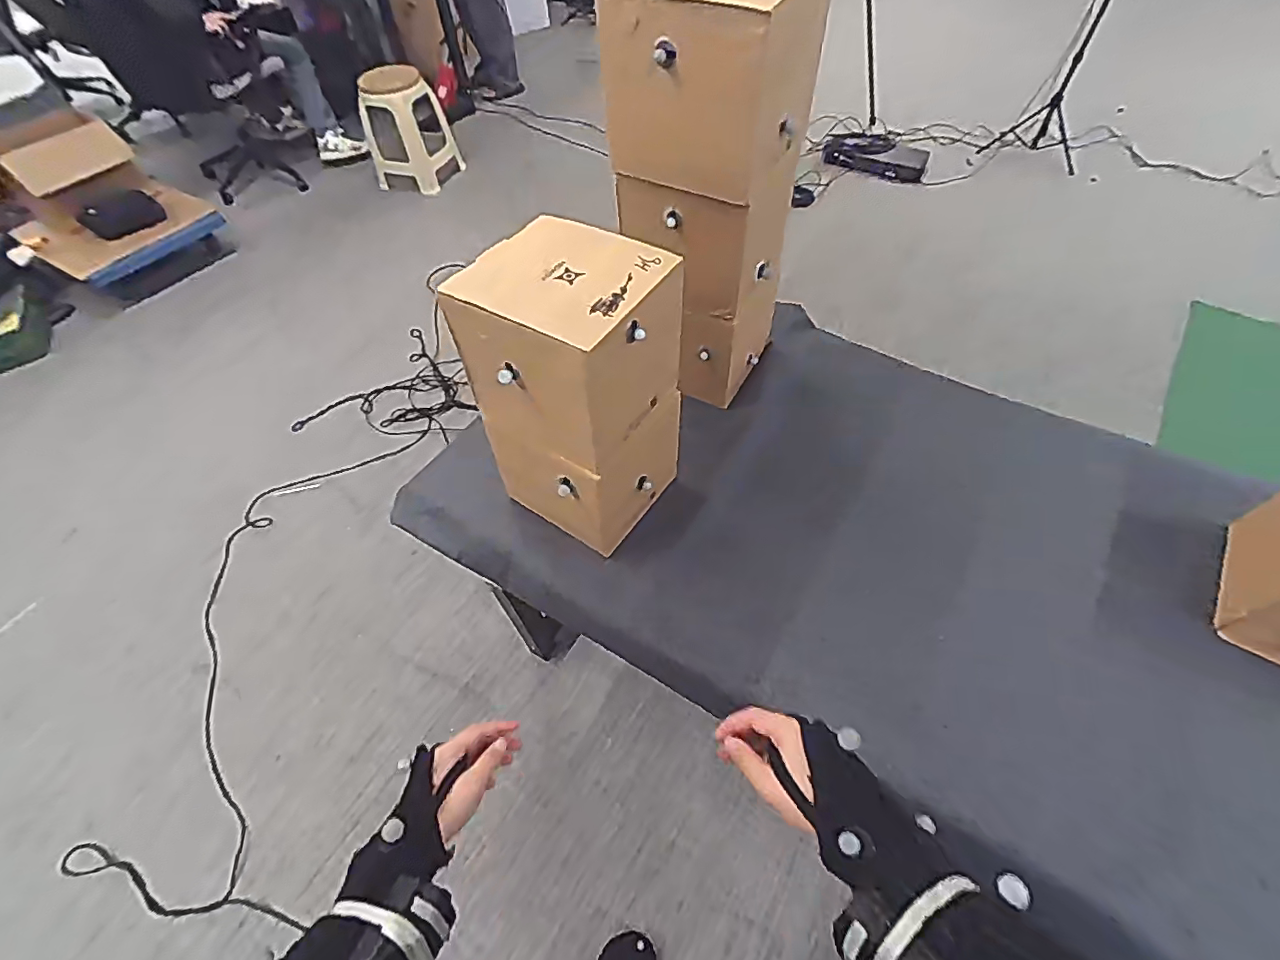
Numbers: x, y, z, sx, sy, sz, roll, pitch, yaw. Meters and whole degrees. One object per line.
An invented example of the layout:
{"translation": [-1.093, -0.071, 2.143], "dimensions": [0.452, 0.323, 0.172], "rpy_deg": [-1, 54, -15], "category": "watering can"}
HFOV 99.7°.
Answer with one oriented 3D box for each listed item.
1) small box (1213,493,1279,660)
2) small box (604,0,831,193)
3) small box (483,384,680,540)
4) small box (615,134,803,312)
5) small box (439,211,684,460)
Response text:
{"translation": [0.759, 0.099, 0.557], "dimensions": [0.168, 0.176, 0.179], "rpy_deg": [29, 63, 22], "category": "small box"}
{"translation": [0.077, -0.432, 0.566], "dimensions": [0.179, 0.176, 0.168], "rpy_deg": [26, 62, 18], "category": "small box"}
{"translation": [-0.066, -0.048, 0.699], "dimensions": [0.179, 0.176, 0.168], "rpy_deg": [29, 59, 21], "category": "small box"}
{"translation": [0.087, -0.349, 0.707], "dimensions": [0.179, 0.176, 0.168], "rpy_deg": [24, 62, 17], "category": "small box"}
{"translation": [-0.070, -0.149, 0.570], "dimensions": [0.179, 0.176, 0.168], "rpy_deg": [25, 58, 19], "category": "small box"}
